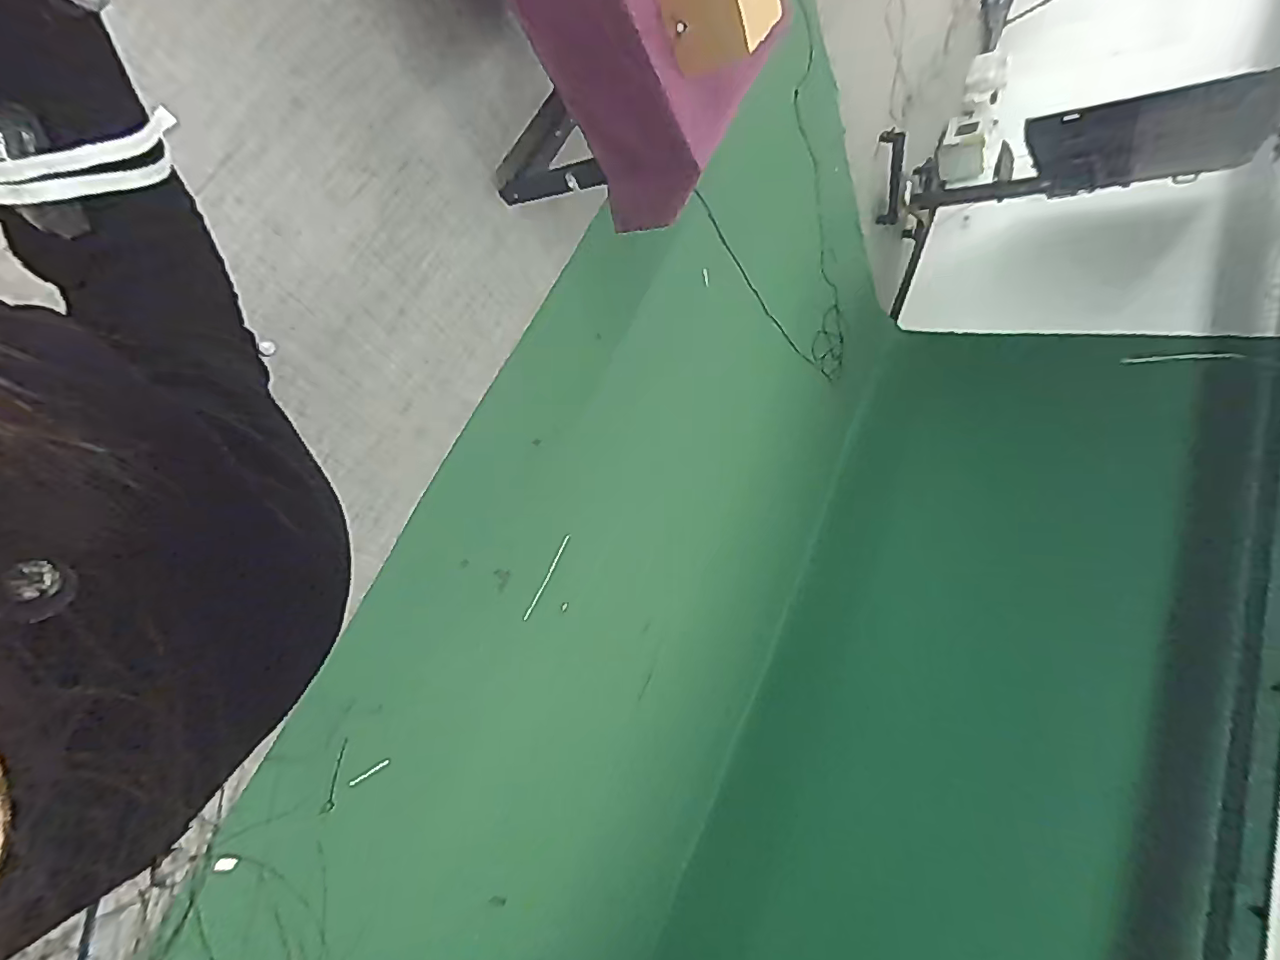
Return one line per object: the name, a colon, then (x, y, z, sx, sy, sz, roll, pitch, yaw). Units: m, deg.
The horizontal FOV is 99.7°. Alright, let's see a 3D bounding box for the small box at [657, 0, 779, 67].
small box: (0.153, -0.971, 1.086, 0.168, 0.176, 0.179, -59, 139, -22)
